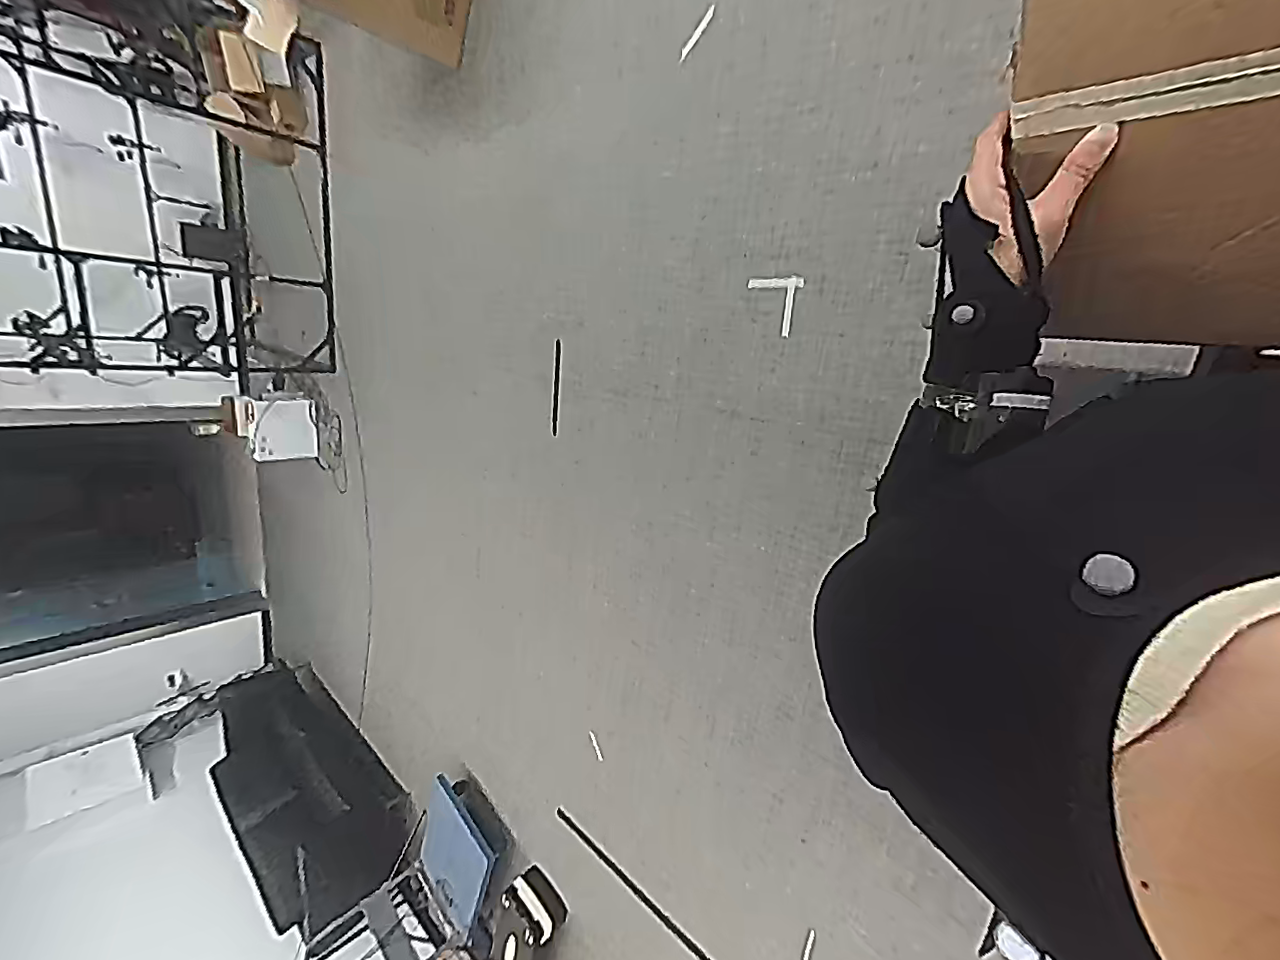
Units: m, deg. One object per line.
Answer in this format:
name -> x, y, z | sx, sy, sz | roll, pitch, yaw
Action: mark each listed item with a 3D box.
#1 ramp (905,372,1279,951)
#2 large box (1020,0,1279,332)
ramp -> 0.906, 0.304, 1.063 | 0.509, 0.206, 0.991 | 17, 108, 41
large box -> 0.479, -0.288, 0.275 | 0.408, 0.320, 0.320 | 18, 145, 43
